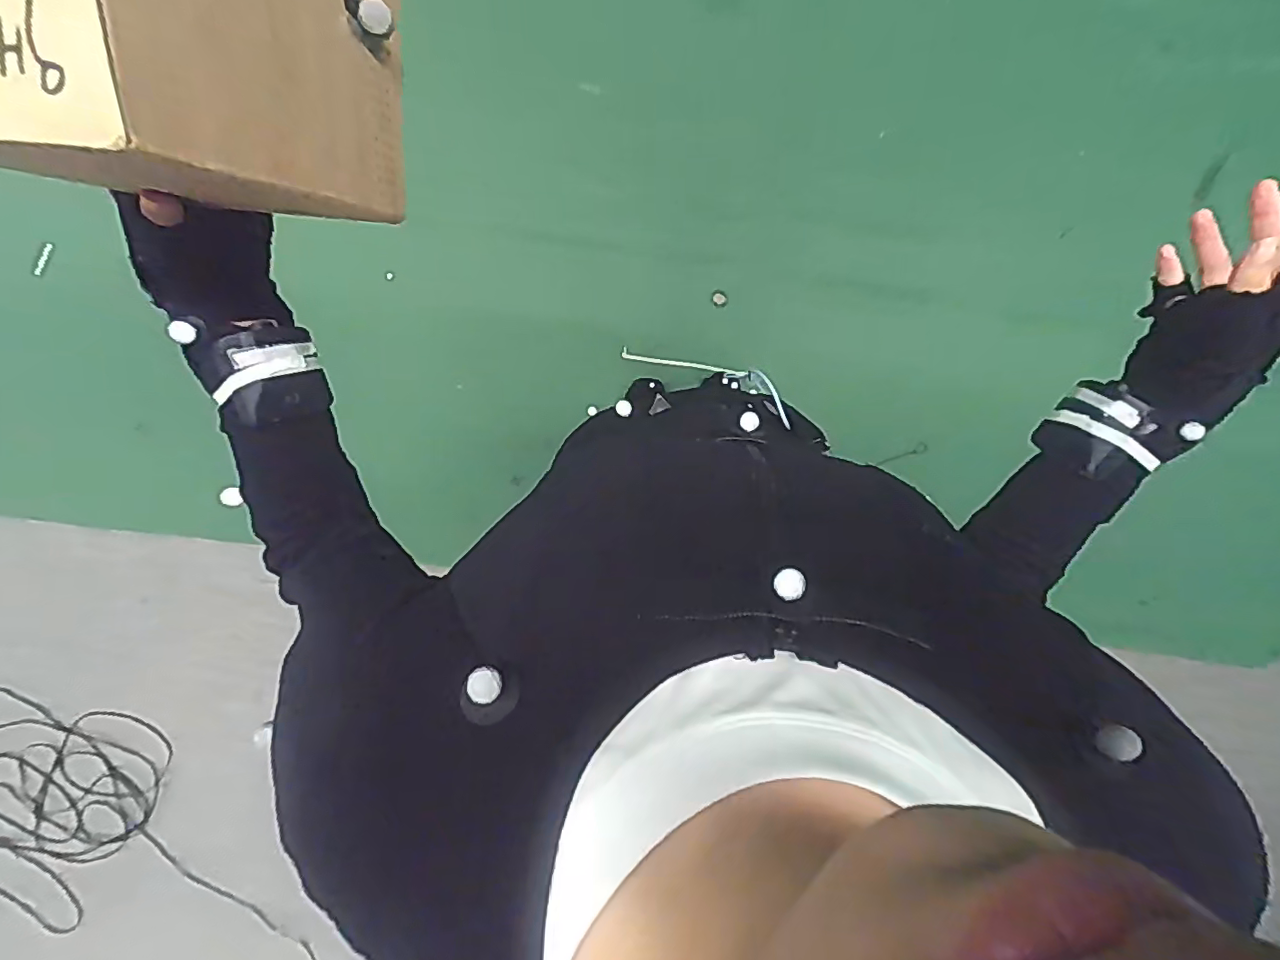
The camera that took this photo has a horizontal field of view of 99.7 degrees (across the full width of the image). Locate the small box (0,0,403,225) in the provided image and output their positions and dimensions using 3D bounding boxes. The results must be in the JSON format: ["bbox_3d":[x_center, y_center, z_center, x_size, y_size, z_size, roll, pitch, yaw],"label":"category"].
[{"bbox_3d":[-0.220,-0.221,0.225,0.168,0.176,0.179,9,109,7],"label":"small box"}]
